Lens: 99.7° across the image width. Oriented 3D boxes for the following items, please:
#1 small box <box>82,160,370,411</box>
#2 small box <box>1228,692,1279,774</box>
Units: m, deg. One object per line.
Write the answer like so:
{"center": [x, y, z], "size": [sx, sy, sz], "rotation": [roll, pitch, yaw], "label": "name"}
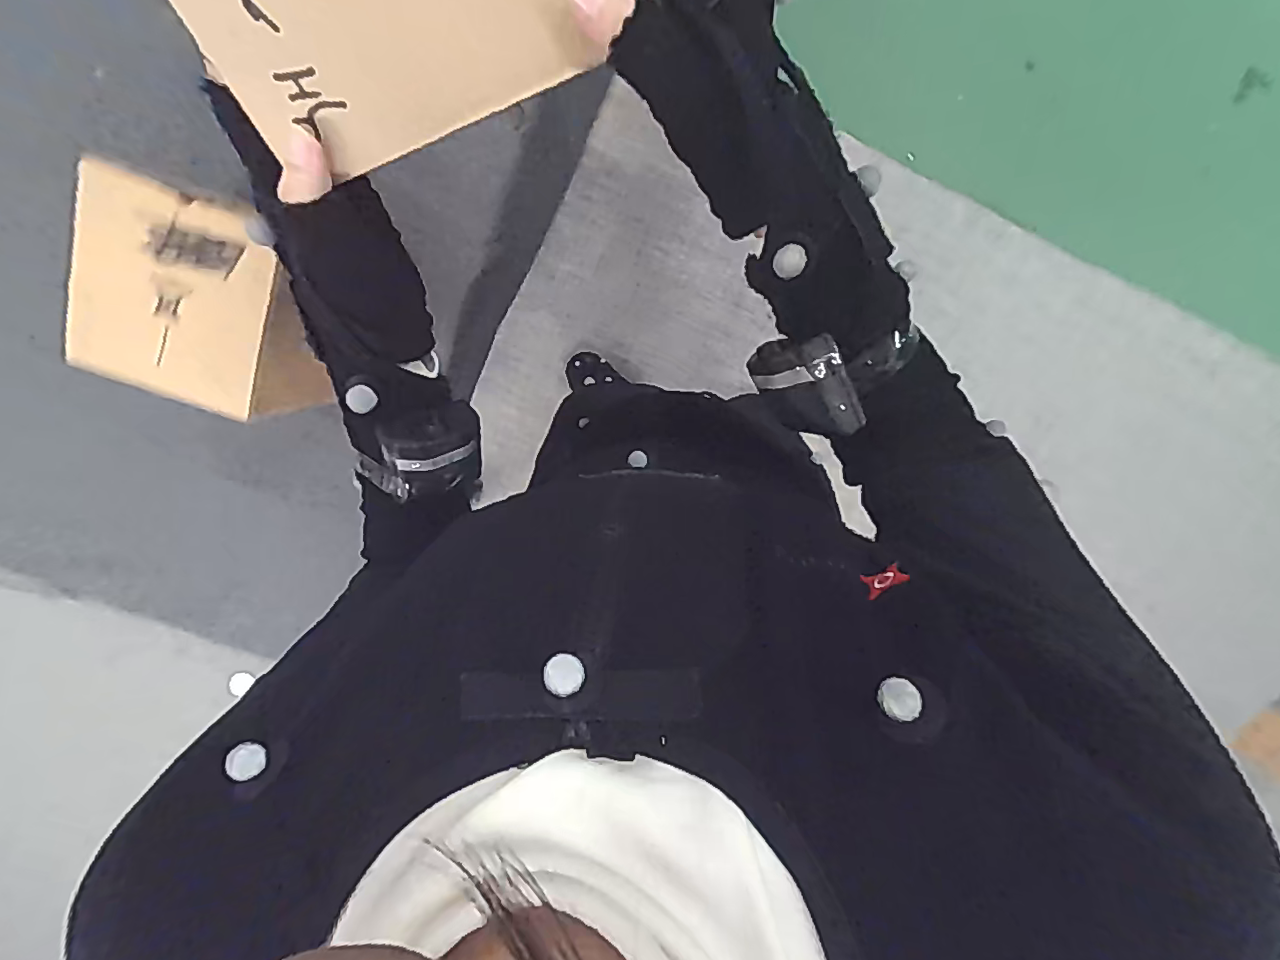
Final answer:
{"center": [-0.404, -0.187, 0.557], "size": [0.168, 0.176, 0.179], "rotation": [16, 104, -5], "label": "small box"}
{"center": [1.946, 0.779, 1.619], "size": [0.168, 0.176, 0.179], "rotation": [23, 103, -8], "label": "small box"}
